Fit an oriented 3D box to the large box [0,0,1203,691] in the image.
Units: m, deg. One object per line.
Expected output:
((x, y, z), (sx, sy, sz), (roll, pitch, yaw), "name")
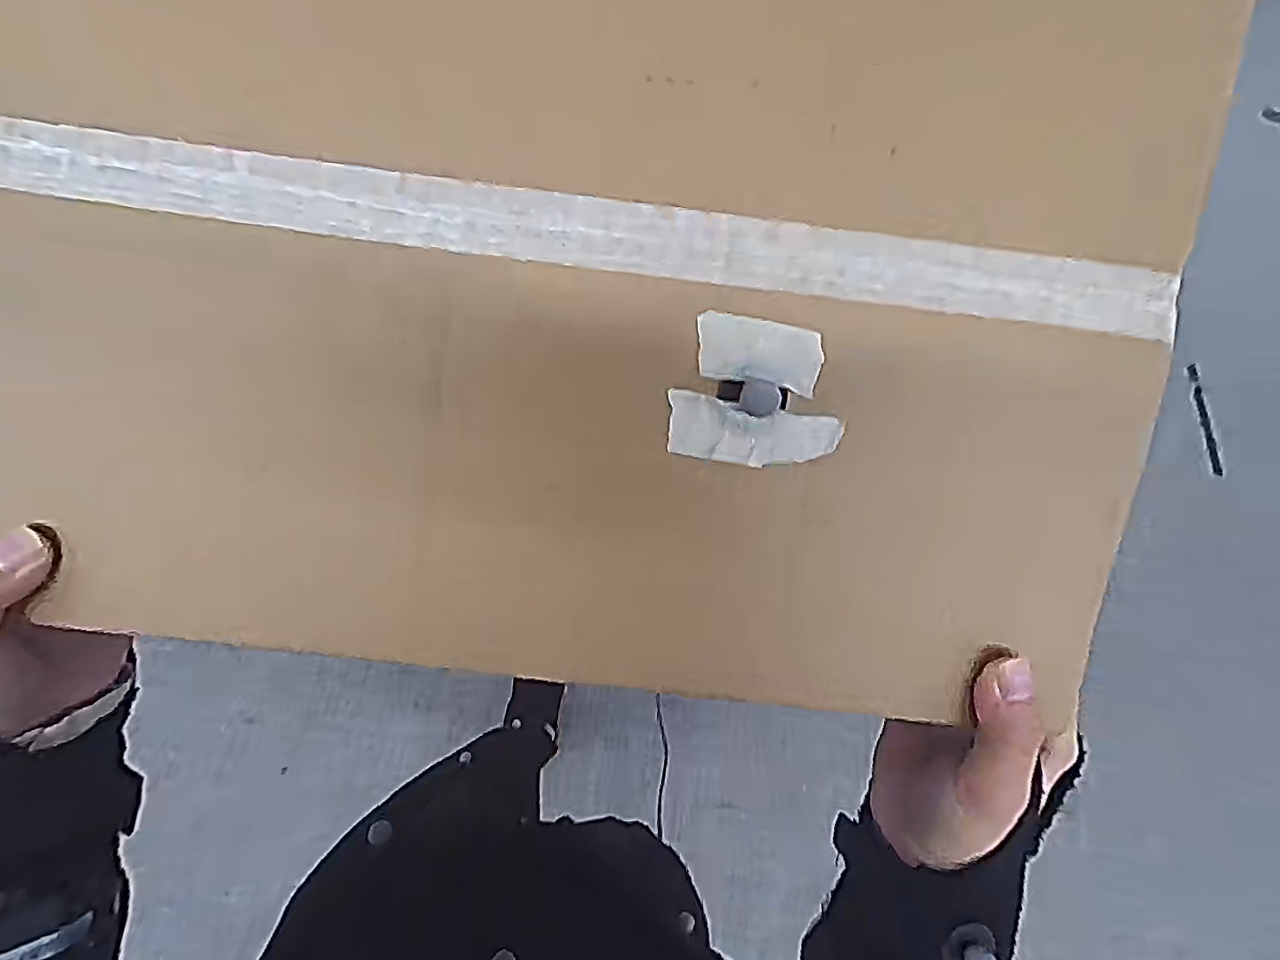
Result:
((-0.024, -0.103, 0.337), (0.408, 0.320, 0.320), (7, 99, -3), "large box")
